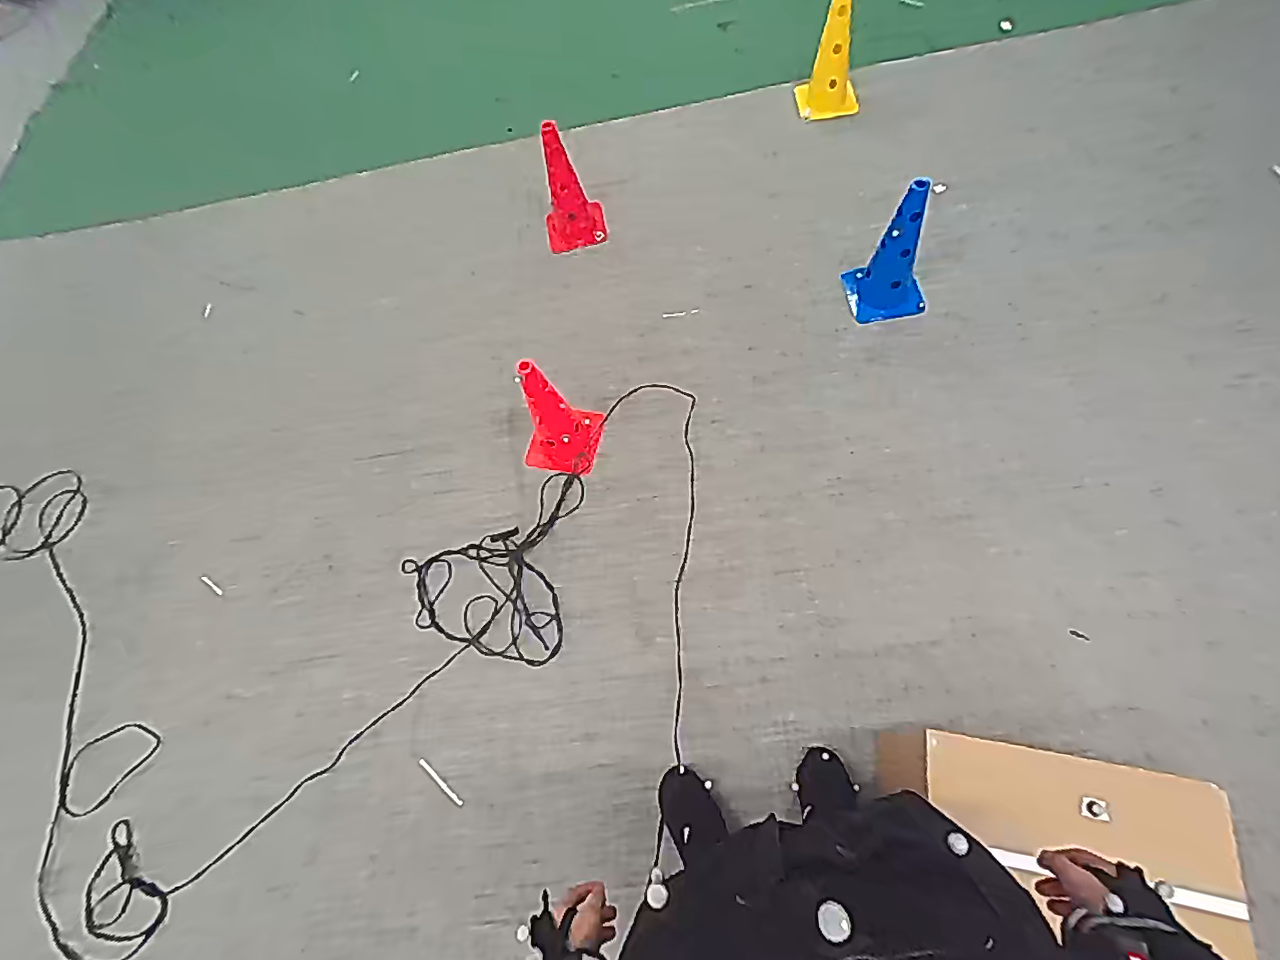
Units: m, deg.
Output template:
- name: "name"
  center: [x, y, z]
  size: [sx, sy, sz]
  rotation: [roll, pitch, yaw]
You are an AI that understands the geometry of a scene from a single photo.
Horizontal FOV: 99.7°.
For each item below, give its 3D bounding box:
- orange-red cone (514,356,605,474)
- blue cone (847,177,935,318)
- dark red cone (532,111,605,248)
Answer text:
- name: "orange-red cone"
  center: [-0.240, -0.189, 1.376]
  size: [0.199, 0.360, 0.198]
  rotation: [10, 66, 16]
- name: "blue cone"
  center: [0.691, -0.622, 1.434]
  size: [0.192, 0.380, 0.193]
  rotation: [-8, 65, 6]
- name: "dark red cone"
  center: [-0.254, -0.955, 1.710]
  size: [0.202, 0.394, 0.201]
  rotation: [-15, 61, 3]
